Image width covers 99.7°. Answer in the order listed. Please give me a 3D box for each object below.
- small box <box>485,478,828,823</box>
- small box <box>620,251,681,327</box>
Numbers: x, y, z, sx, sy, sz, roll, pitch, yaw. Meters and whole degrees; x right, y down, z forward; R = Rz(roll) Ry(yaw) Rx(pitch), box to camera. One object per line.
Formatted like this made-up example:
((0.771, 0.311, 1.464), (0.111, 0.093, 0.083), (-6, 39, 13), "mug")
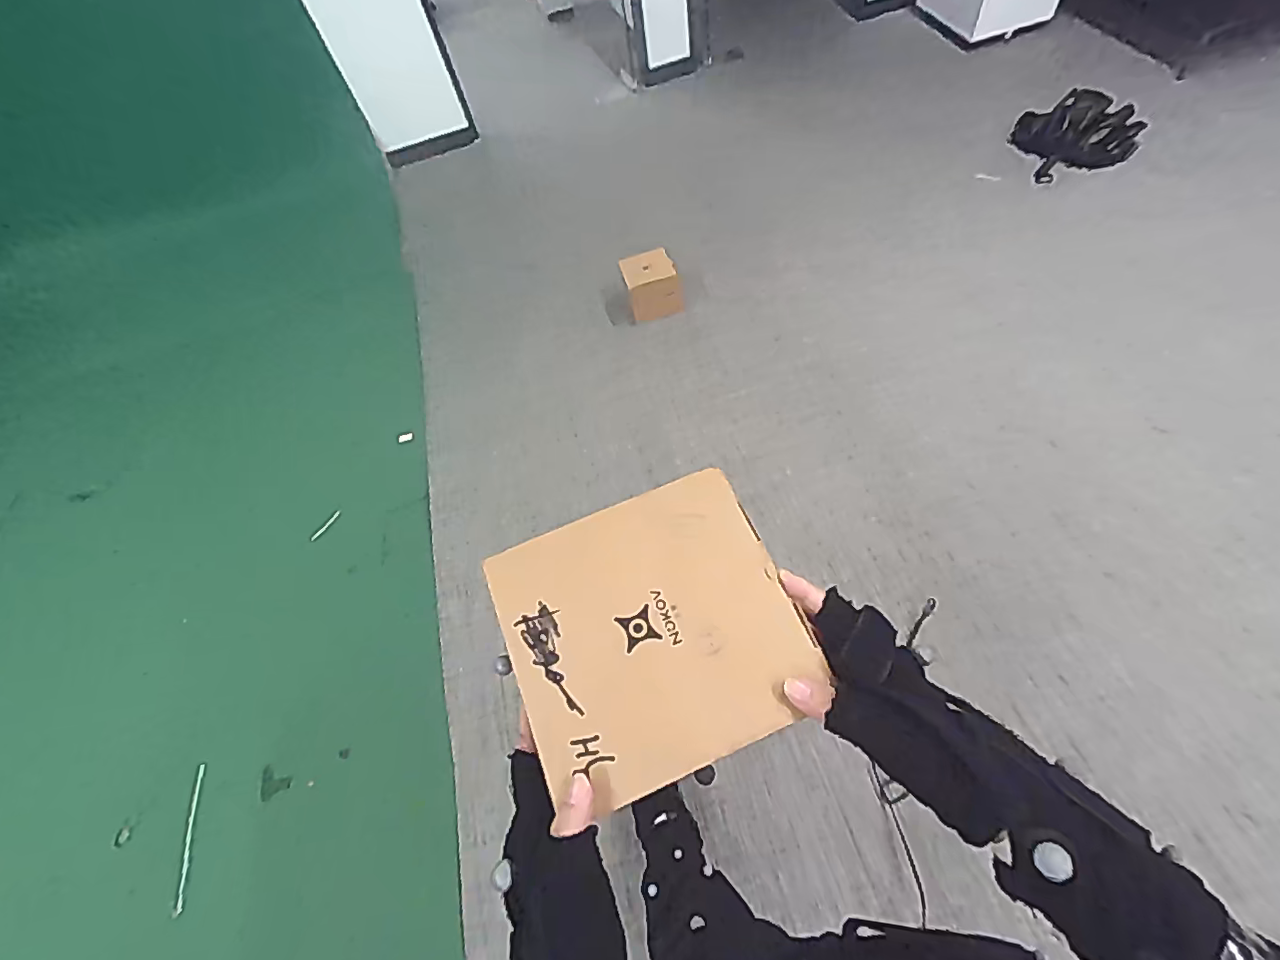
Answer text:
((0.006, 0.128, 0.411), (0.179, 0.176, 0.168), (-20, 64, -8), "small box")
((0.044, -0.685, 1.947), (0.179, 0.176, 0.168), (-19, 57, 1), "small box")
